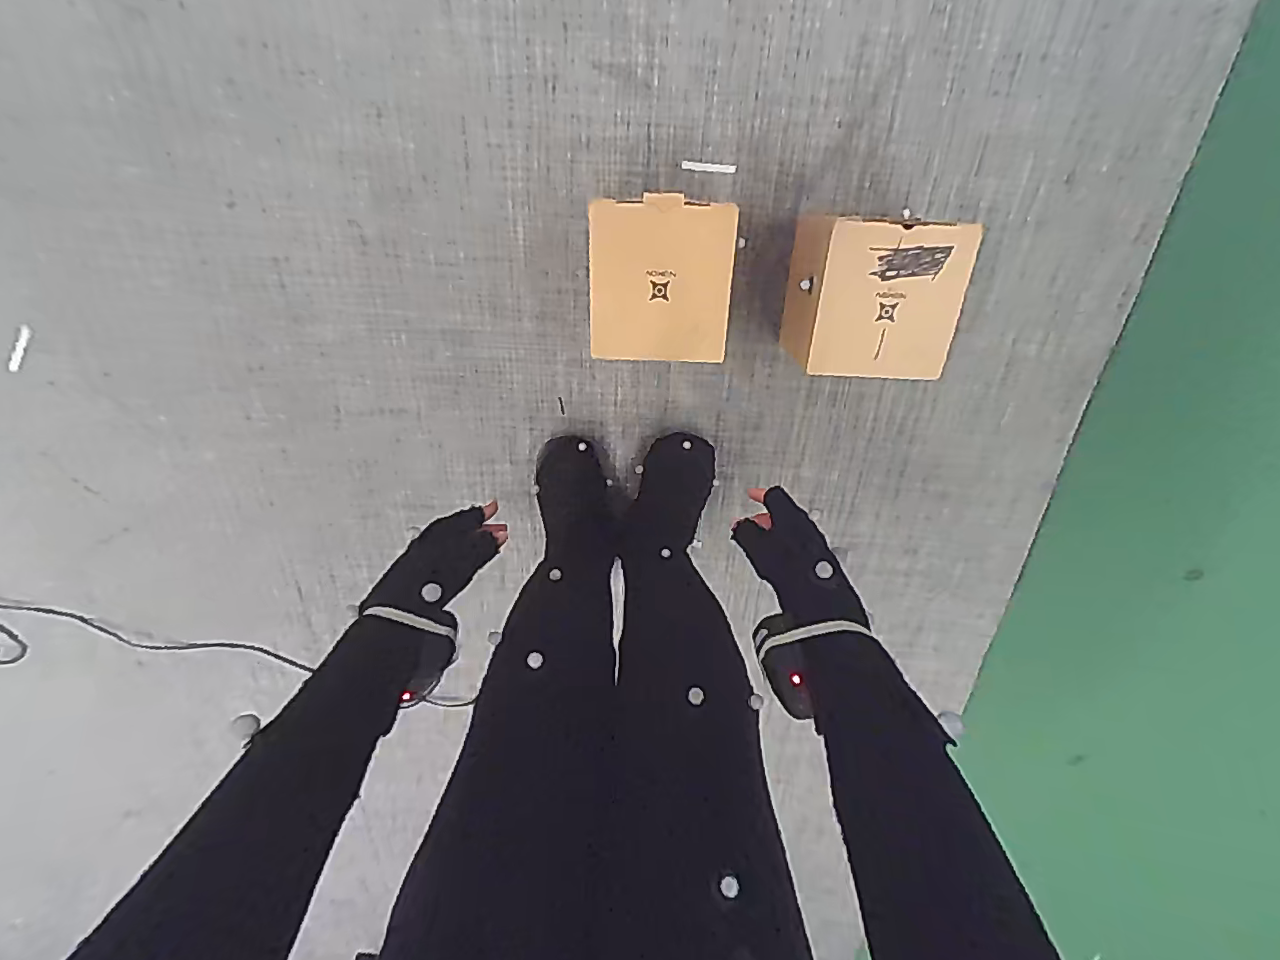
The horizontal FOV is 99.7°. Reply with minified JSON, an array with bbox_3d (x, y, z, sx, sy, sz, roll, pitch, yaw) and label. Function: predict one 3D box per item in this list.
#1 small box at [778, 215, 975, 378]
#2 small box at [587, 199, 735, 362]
[{"bbox_3d":[0.286,-0.243,0.700,0.168,0.176,0.179,2,117,0],"label":"small box"},{"bbox_3d":[0.023,-0.262,0.698,0.168,0.176,0.179,2,116,0],"label":"small box"}]
